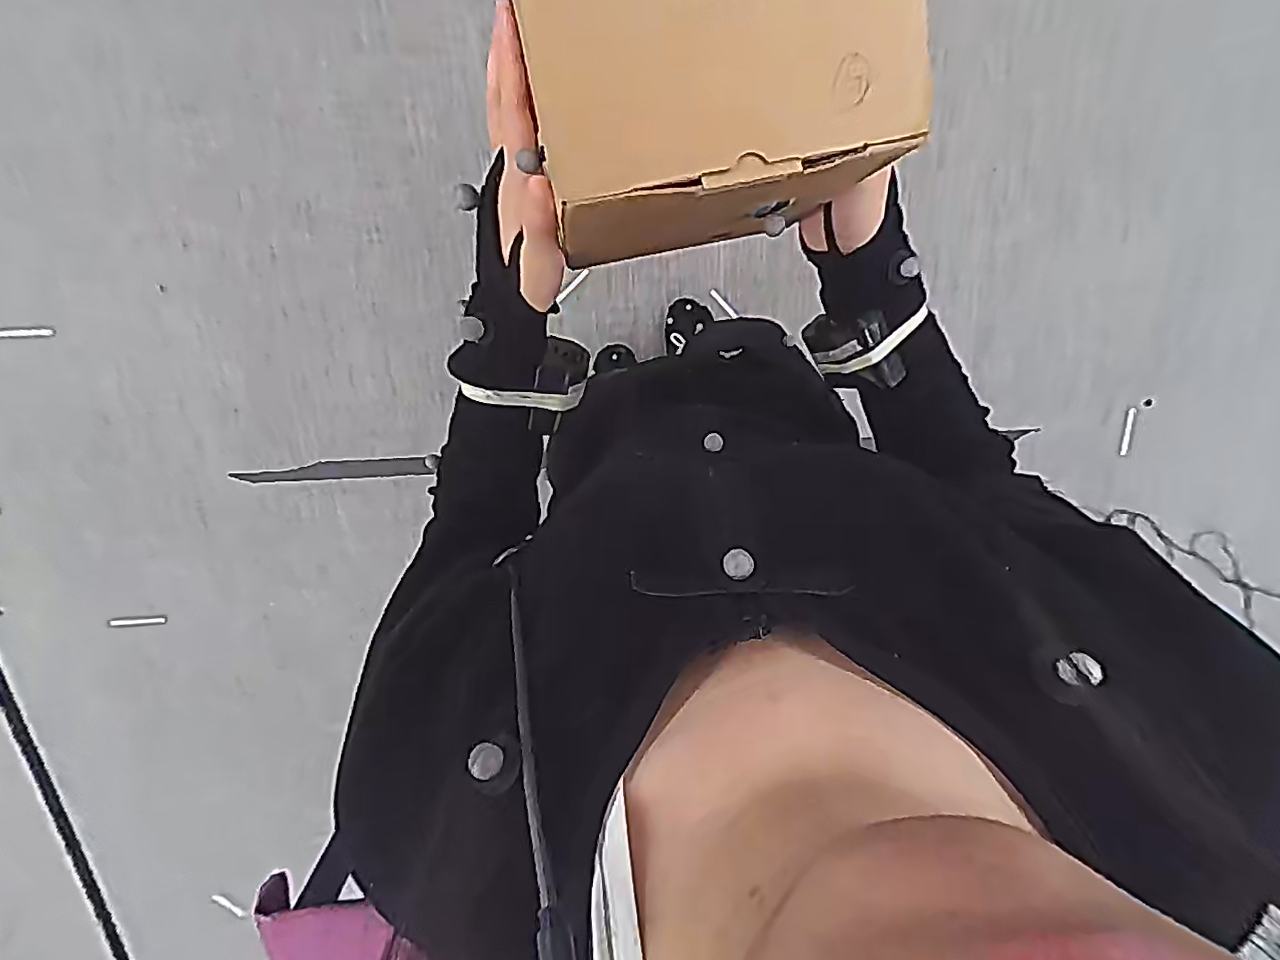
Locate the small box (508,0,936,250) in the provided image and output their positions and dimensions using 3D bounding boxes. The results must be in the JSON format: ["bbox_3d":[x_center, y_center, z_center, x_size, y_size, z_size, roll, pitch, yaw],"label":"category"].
[{"bbox_3d":[0.021,-0.232,0.283,0.168,0.176,0.179,-14,103,-5],"label":"small box"}]
